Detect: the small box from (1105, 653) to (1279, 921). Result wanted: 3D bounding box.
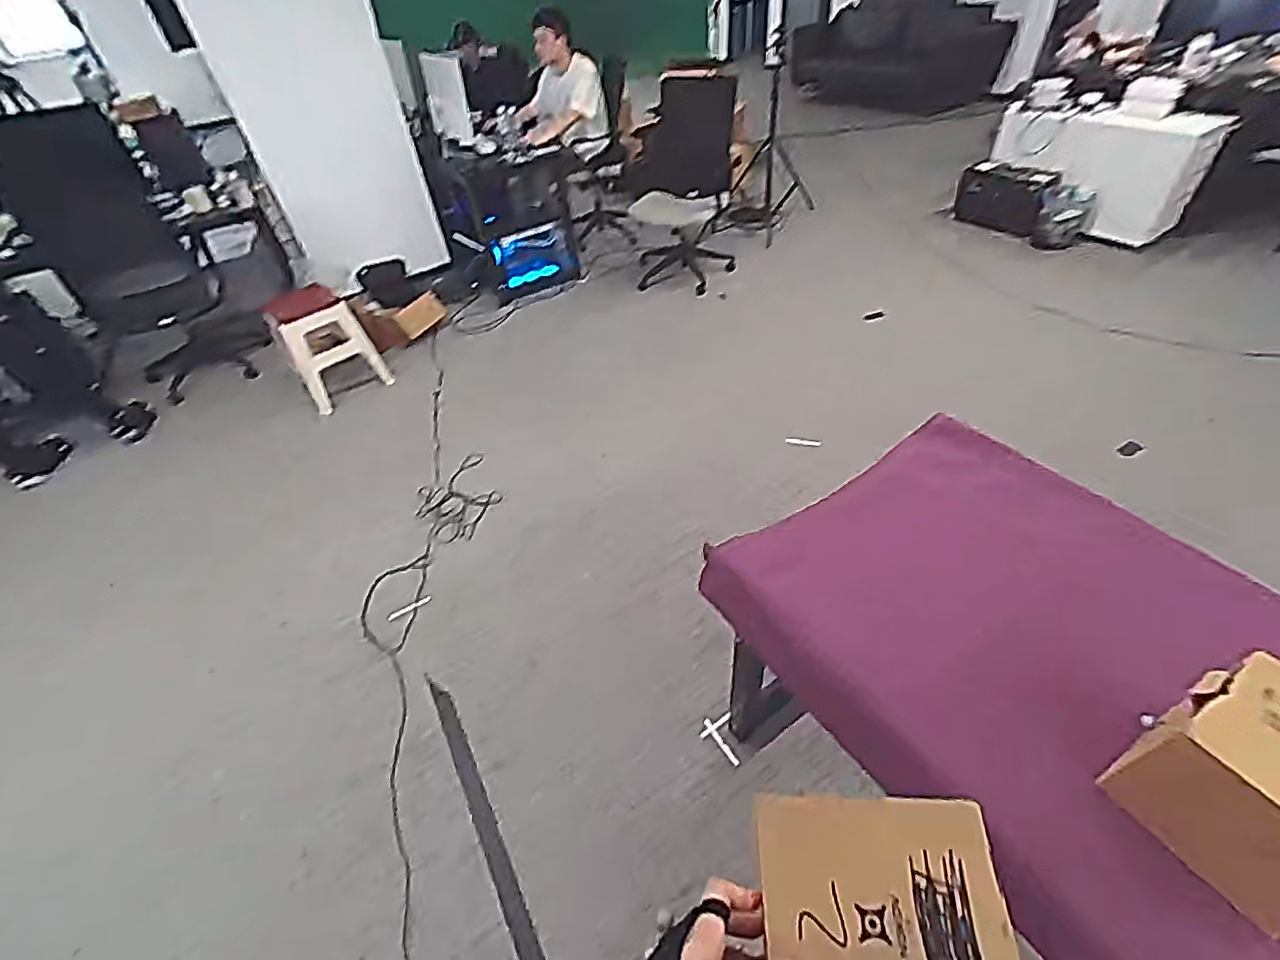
[{"bbox_3d":[0.666,0.328,0.573,0.168,0.176,0.179,-25,46,-19],"label":"small box"}]
